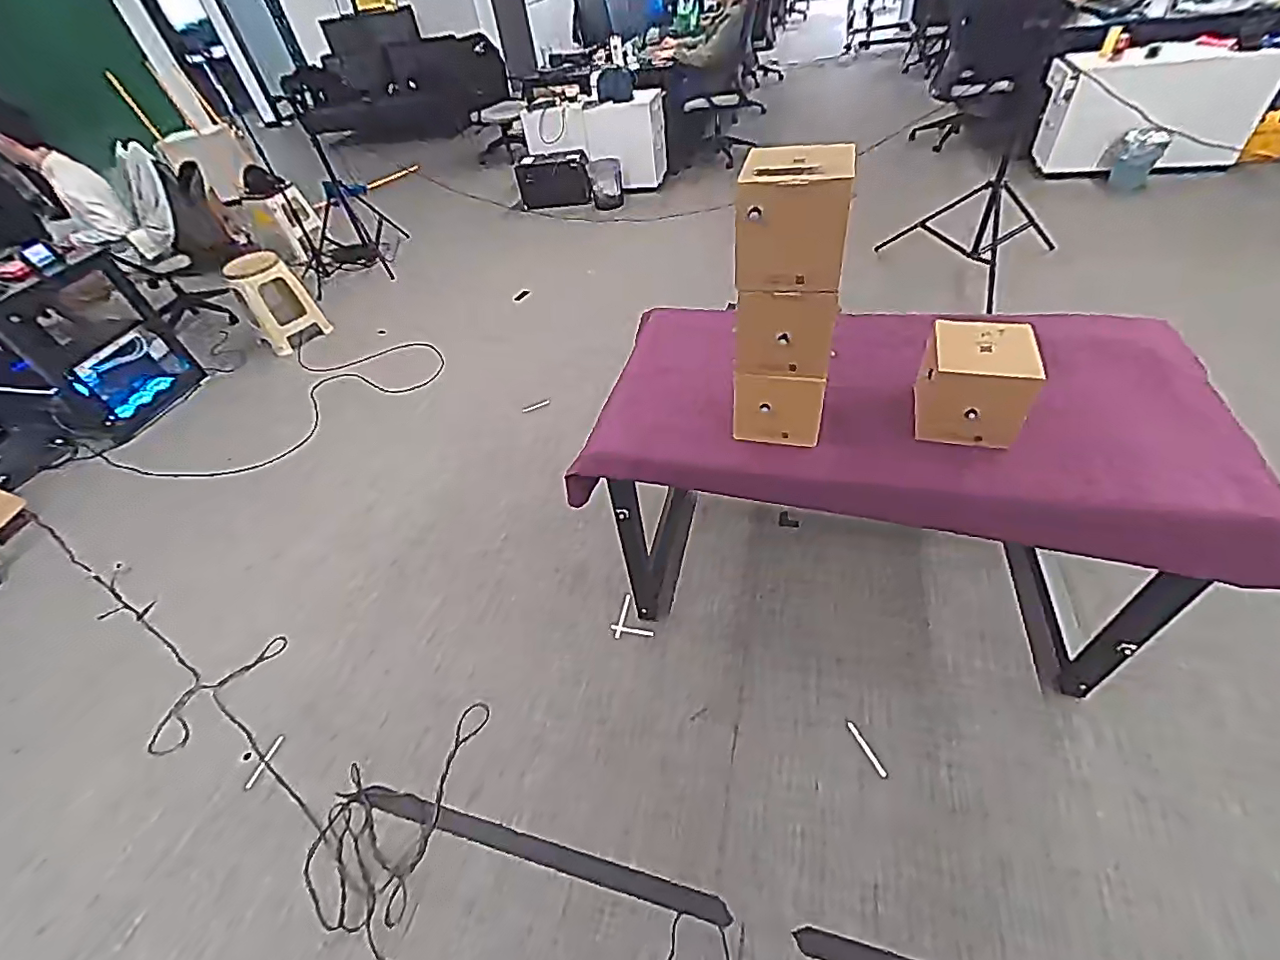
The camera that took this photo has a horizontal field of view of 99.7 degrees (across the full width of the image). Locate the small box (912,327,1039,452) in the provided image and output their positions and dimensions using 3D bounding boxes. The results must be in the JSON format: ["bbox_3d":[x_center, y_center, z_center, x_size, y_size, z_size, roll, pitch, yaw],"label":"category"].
[{"bbox_3d":[0.638,-0.175,1.050,0.168,0.176,0.179,9,48,17],"label":"small box"}]

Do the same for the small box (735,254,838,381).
[{"bbox_3d":[0.270,-0.300,1.003,0.168,0.176,0.179,6,47,14],"label":"small box"}]

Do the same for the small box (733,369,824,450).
[{"bbox_3d":[0.289,-0.181,1.115,0.168,0.176,0.179,8,47,16],"label":"small box"}]
